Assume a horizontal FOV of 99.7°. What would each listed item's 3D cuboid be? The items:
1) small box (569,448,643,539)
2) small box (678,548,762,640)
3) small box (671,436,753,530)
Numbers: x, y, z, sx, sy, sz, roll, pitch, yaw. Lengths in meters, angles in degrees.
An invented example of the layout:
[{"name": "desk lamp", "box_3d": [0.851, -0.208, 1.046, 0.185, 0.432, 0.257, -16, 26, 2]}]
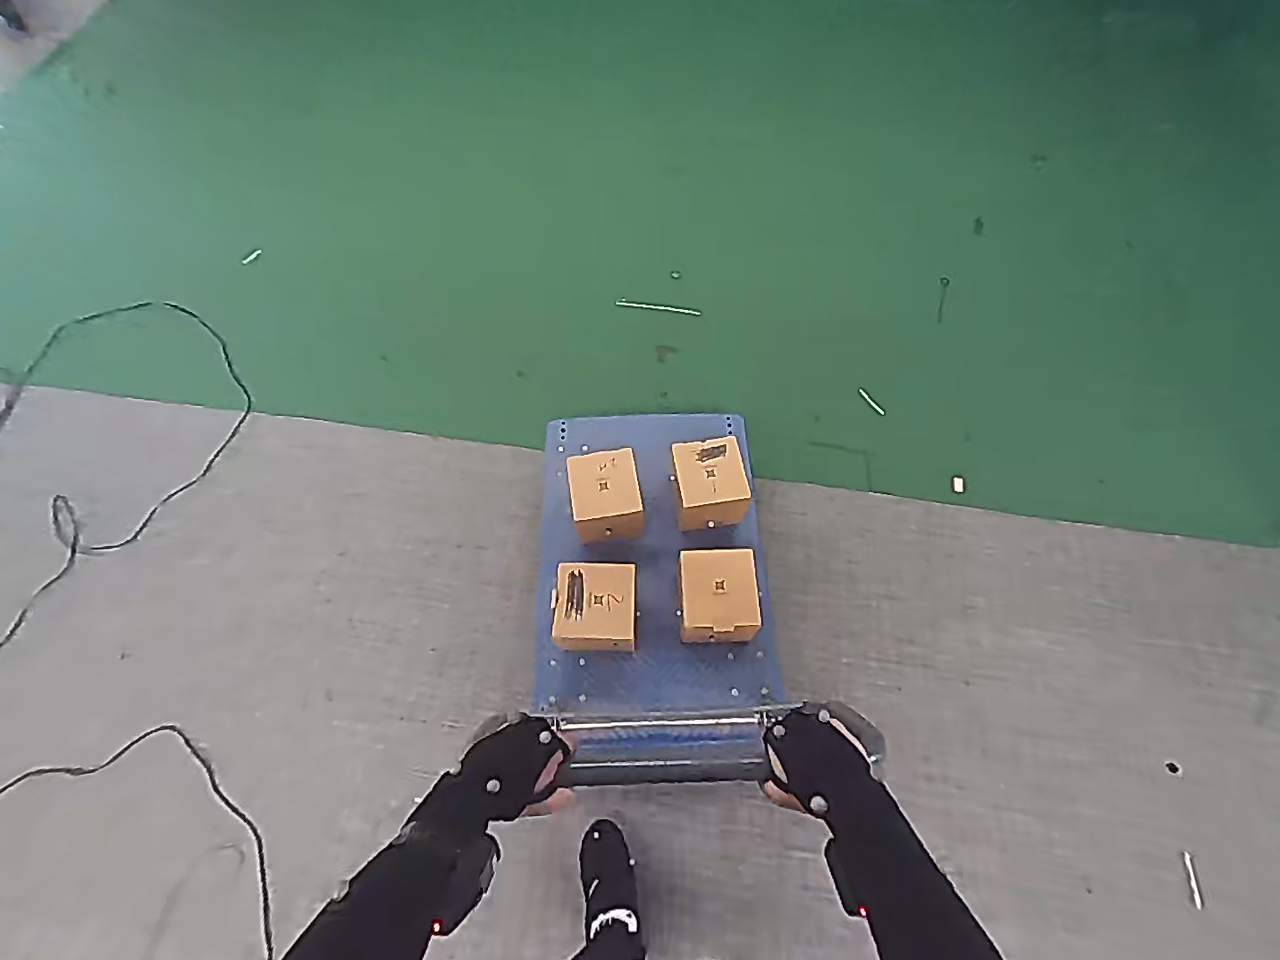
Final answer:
[{"name": "small box", "box_3d": [-0.083, 0.041, 1.372, 0.168, 0.176, 0.179, -8, 64, -4]}, {"name": "small box", "box_3d": [0.179, 0.269, 1.260, 0.168, 0.176, 0.179, -1, 65, 0]}, {"name": "small box", "box_3d": [0.176, 0.011, 1.385, 0.168, 0.176, 0.179, -8, 65, -3]}]
